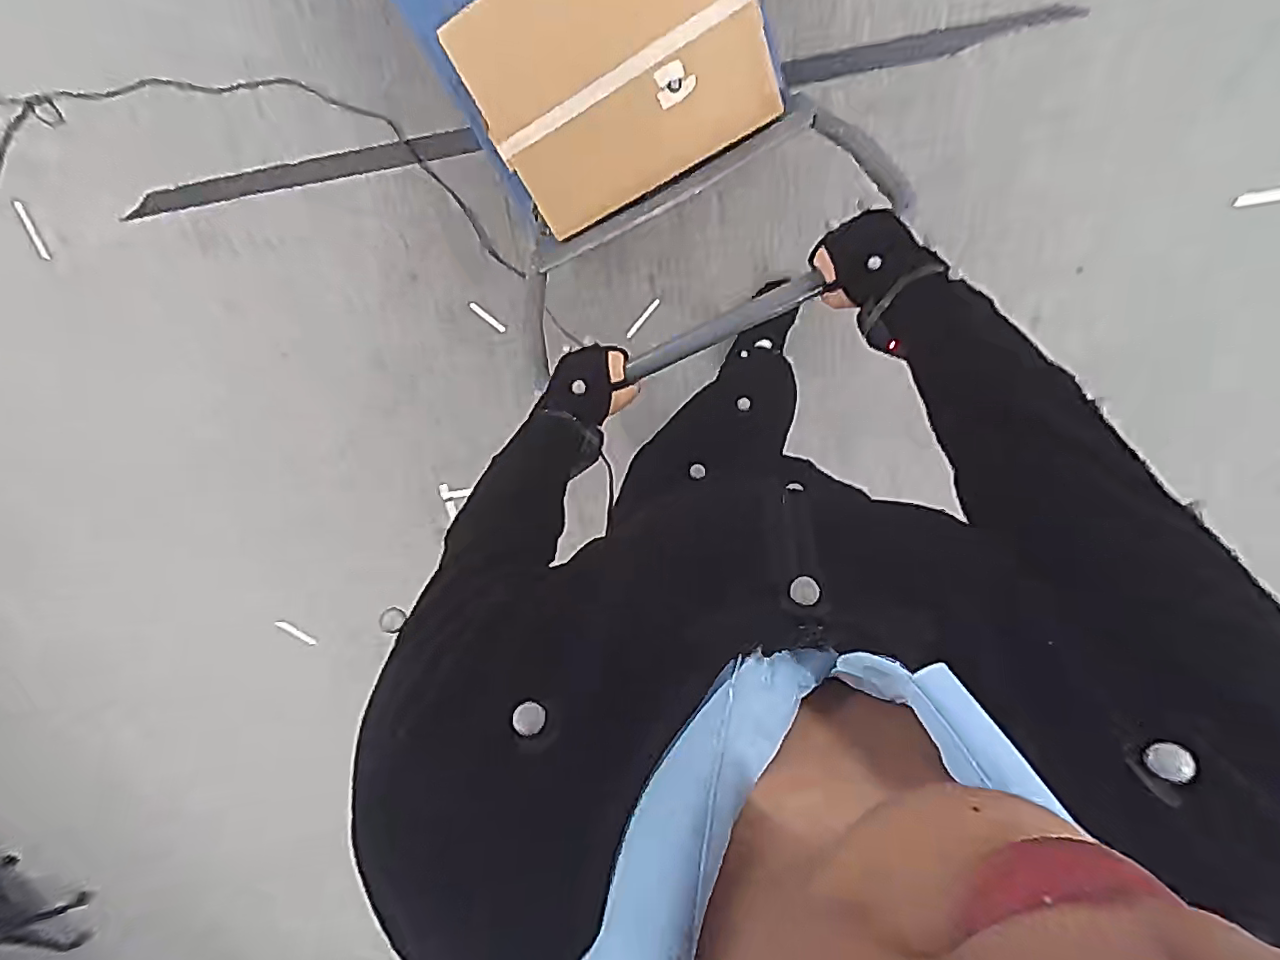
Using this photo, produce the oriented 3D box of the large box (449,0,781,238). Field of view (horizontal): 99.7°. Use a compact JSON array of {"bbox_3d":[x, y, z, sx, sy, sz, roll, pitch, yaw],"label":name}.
[{"bbox_3d":[-0.038,-0.687,0.905,0.408,0.320,0.320,-25,128,14],"label":"large box"}]
